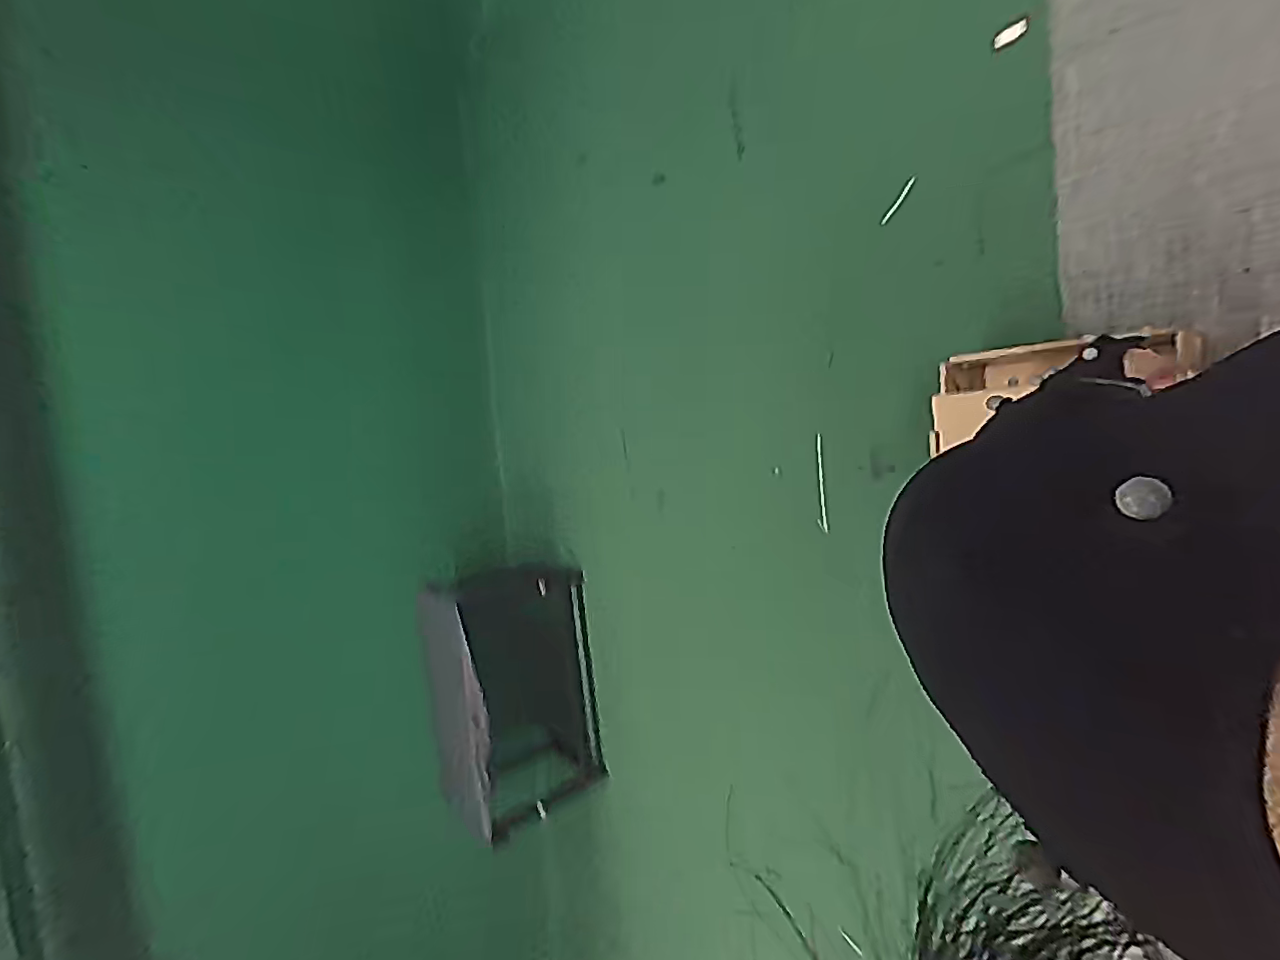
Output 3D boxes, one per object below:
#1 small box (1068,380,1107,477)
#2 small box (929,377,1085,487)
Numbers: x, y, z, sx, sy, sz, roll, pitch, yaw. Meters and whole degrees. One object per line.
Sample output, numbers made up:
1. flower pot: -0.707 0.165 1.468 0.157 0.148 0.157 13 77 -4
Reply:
1. small box: 0.748 -0.099 1.021 0.179 0.176 0.168 3 100 50
2. small box: 0.621 -0.079 0.918 0.179 0.176 0.168 -1 97 52
